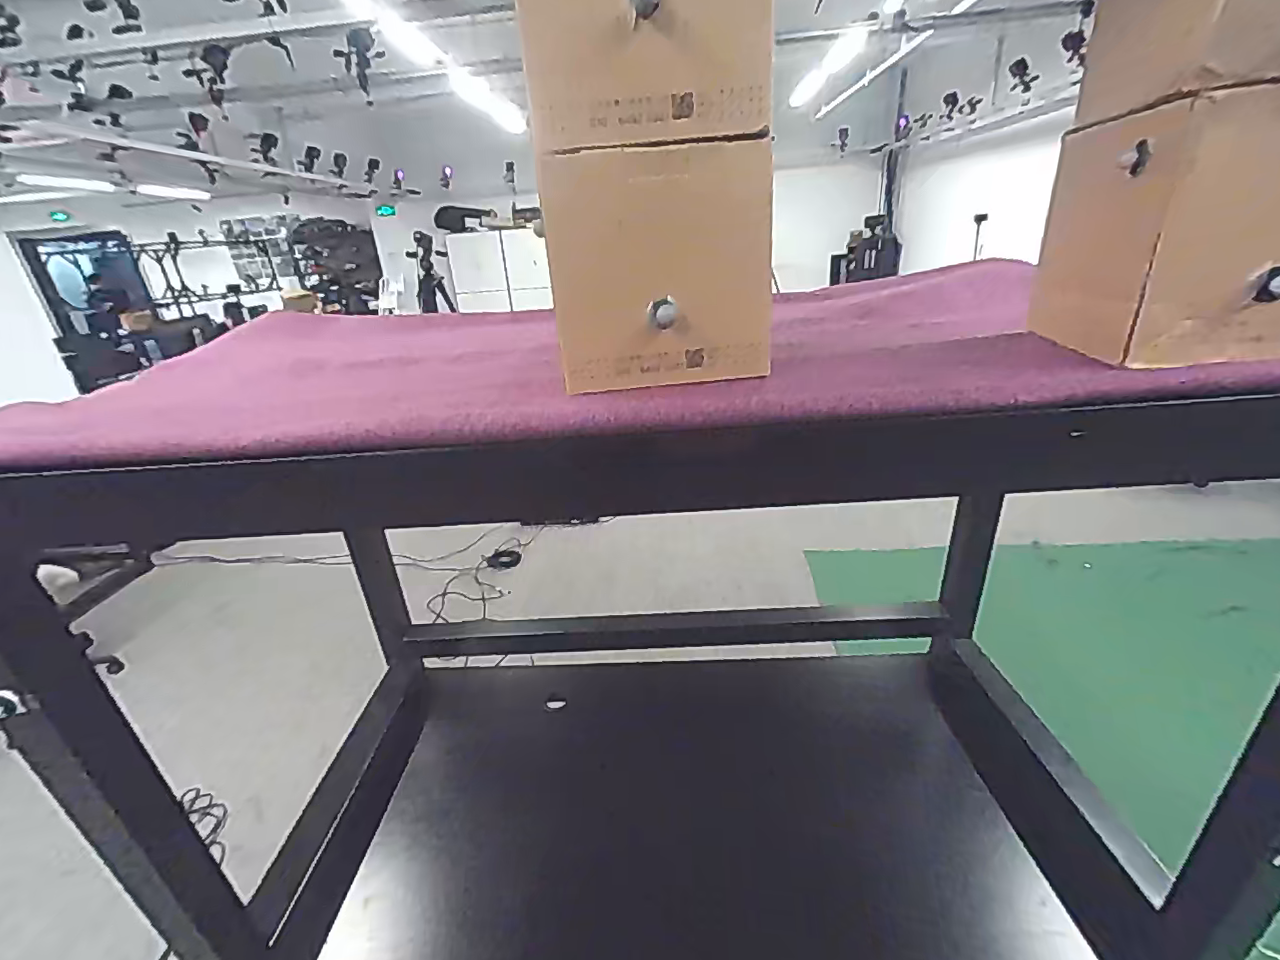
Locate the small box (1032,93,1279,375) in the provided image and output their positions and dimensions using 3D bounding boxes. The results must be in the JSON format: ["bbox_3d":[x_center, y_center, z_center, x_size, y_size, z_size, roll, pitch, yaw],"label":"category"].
[{"bbox_3d":[0.428,-0.179,0.401,0.168,0.176,0.179,1,26,13],"label":"small box"}]

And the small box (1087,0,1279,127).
[{"bbox_3d":[0.415,-0.322,0.327,0.168,0.176,0.179,1,27,17],"label":"small box"}]
